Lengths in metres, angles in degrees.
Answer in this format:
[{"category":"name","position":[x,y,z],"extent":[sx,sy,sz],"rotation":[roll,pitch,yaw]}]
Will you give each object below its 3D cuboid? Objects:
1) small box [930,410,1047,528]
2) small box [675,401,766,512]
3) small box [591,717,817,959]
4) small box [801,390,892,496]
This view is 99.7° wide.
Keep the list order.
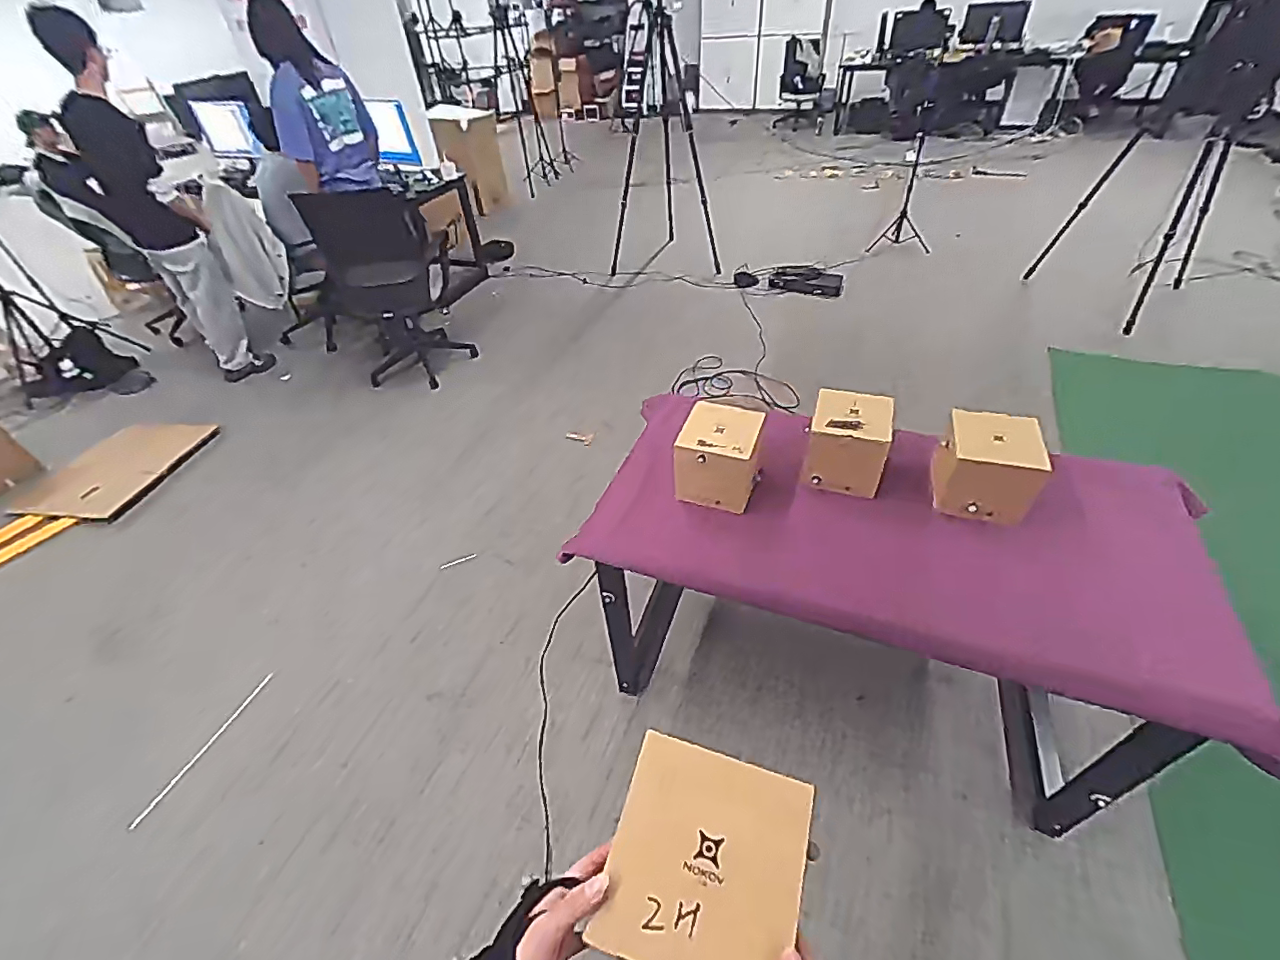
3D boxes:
[{"category":"small box","position":[0.743,-0.025,1.176],"extent":[0.168,0.176,0.179],"rotation":[11,46,17]},{"category":"small box","position":[0.184,-0.056,1.250],"extent":[0.168,0.176,0.179],"rotation":[12,45,19]},{"category":"small box","position":[0.066,0.371,0.539],"extent":[0.168,0.176,0.179],"rotation":[13,53,15]},{"category":"small box","position":[0.479,-0.085,1.262],"extent":[0.168,0.176,0.179],"rotation":[12,44,17]}]
